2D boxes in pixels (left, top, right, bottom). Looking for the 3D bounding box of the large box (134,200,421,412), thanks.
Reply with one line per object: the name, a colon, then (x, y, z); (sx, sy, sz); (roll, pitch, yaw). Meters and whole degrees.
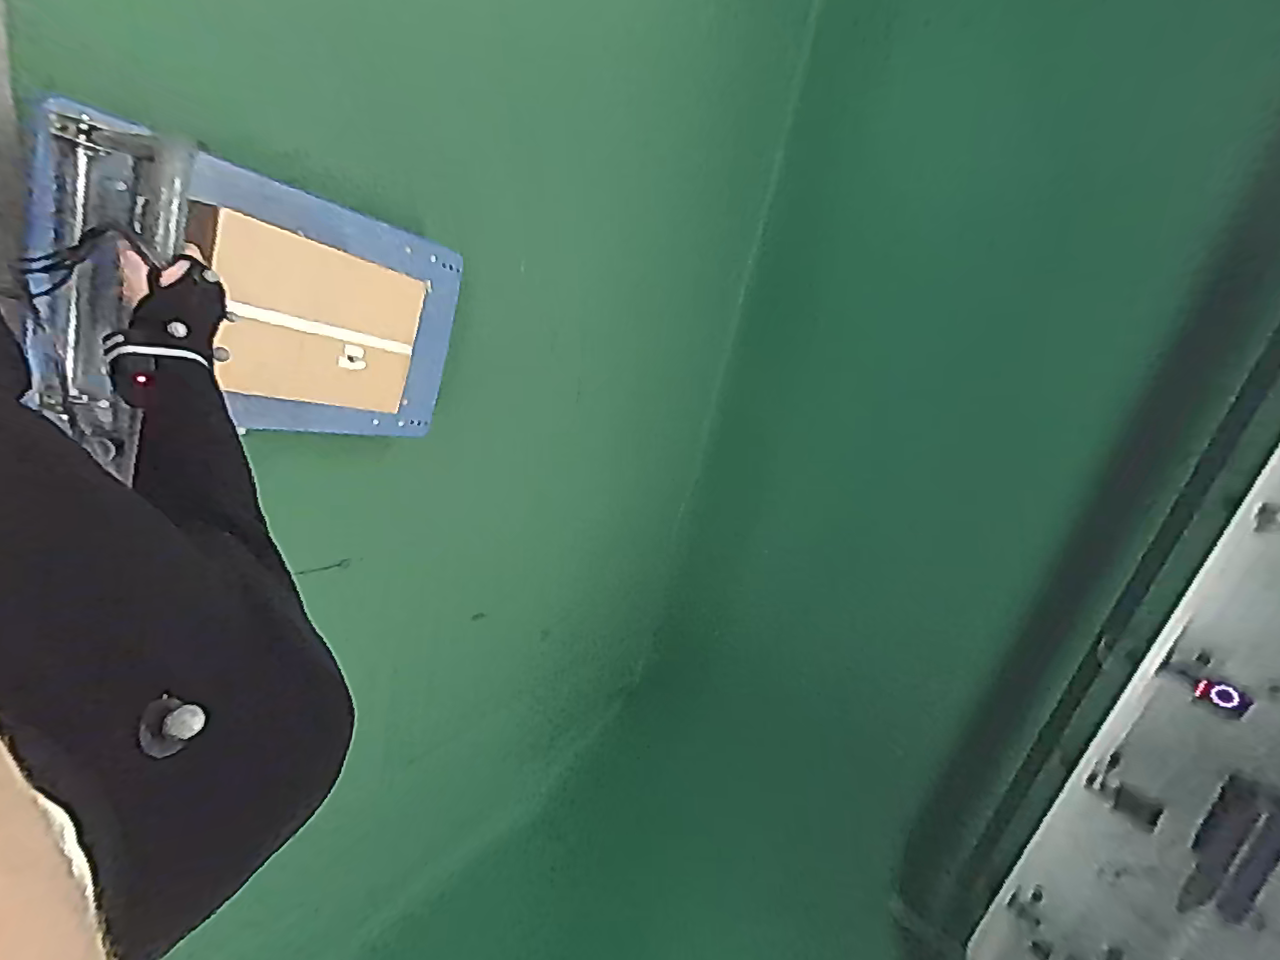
large box: (-0.768, -0.356, 1.166); (0.408, 0.320, 0.320); (2, 109, -59)
